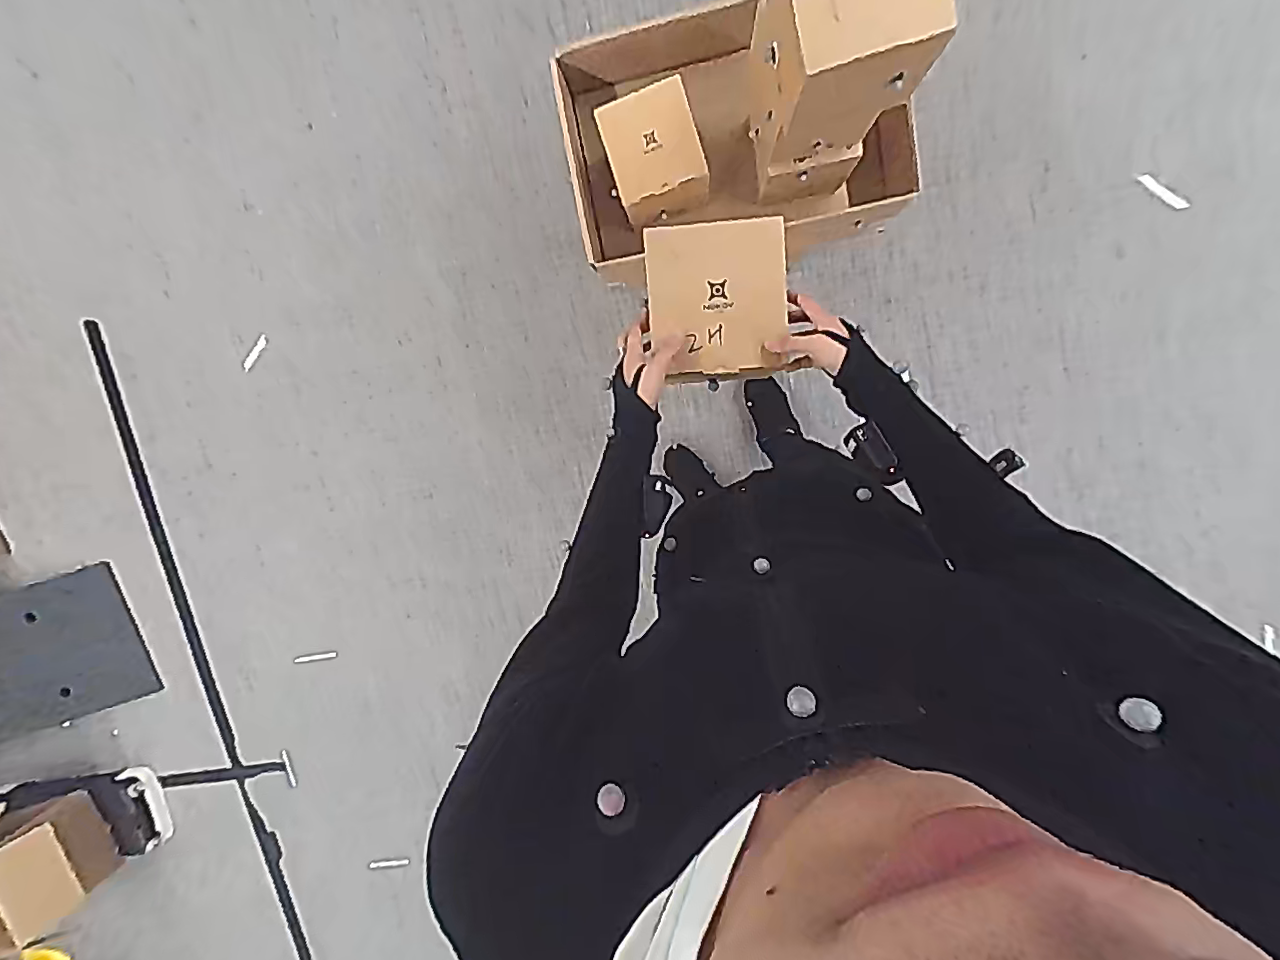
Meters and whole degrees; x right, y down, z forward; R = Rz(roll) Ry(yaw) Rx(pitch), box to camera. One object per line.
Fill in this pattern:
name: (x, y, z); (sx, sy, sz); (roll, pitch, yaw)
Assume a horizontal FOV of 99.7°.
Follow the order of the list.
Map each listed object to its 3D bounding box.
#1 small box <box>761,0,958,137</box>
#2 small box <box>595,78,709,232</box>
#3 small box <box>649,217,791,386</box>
small box: (0.266, -0.582, 0.692); (0.179, 0.176, 0.168); (-13, 96, 7)
small box: (0.027, -0.613, 1.045); (0.168, 0.176, 0.179); (-18, 97, 8)
small box: (0.097, -0.223, 0.716); (0.168, 0.176, 0.179); (-3, 96, 3)
